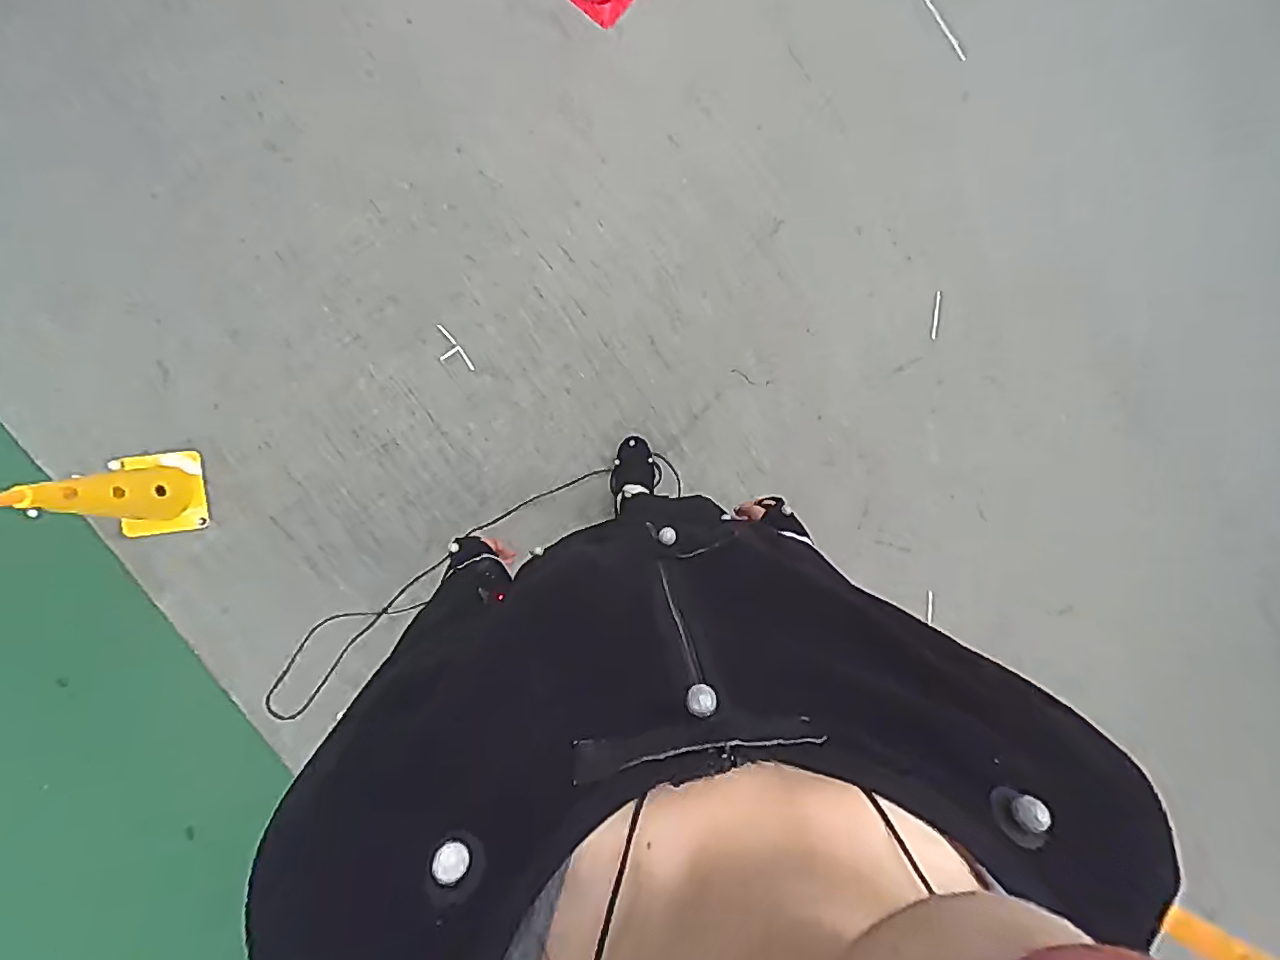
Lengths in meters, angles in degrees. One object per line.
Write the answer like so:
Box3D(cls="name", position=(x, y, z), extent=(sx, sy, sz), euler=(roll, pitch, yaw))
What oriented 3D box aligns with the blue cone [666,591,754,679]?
Box3D(cls="blue cone", position=(0.199, 0.406, 1.348), extent=(0.193, 0.380, 0.192), euler=(8, 87, -10))
